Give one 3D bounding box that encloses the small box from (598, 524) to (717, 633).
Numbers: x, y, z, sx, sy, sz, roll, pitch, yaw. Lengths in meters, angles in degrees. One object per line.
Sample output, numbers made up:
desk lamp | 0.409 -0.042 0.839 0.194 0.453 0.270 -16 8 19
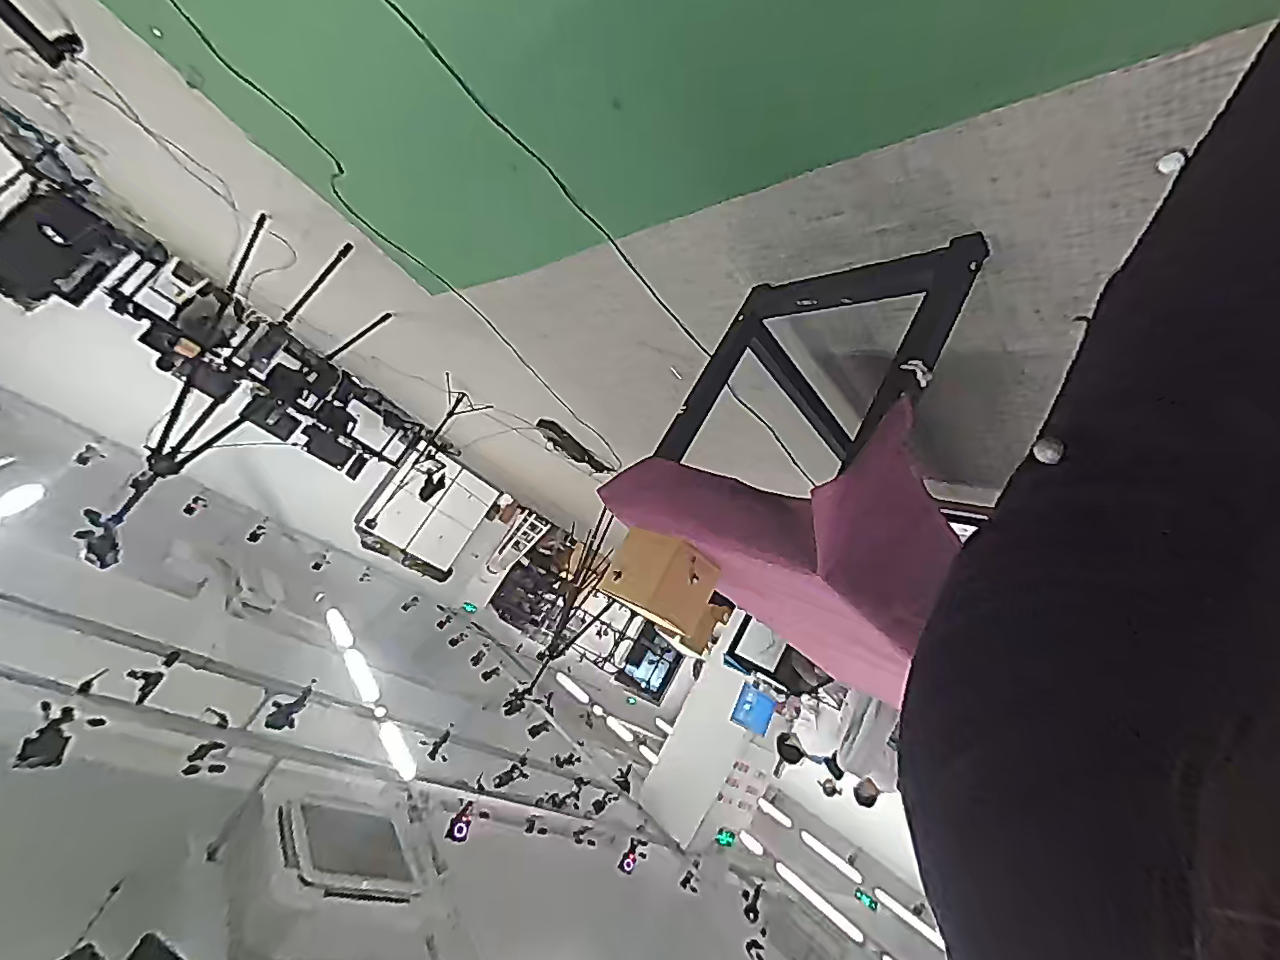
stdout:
small box | 0.043 0.216 1.229 0.179 0.176 0.168 9 156 50
